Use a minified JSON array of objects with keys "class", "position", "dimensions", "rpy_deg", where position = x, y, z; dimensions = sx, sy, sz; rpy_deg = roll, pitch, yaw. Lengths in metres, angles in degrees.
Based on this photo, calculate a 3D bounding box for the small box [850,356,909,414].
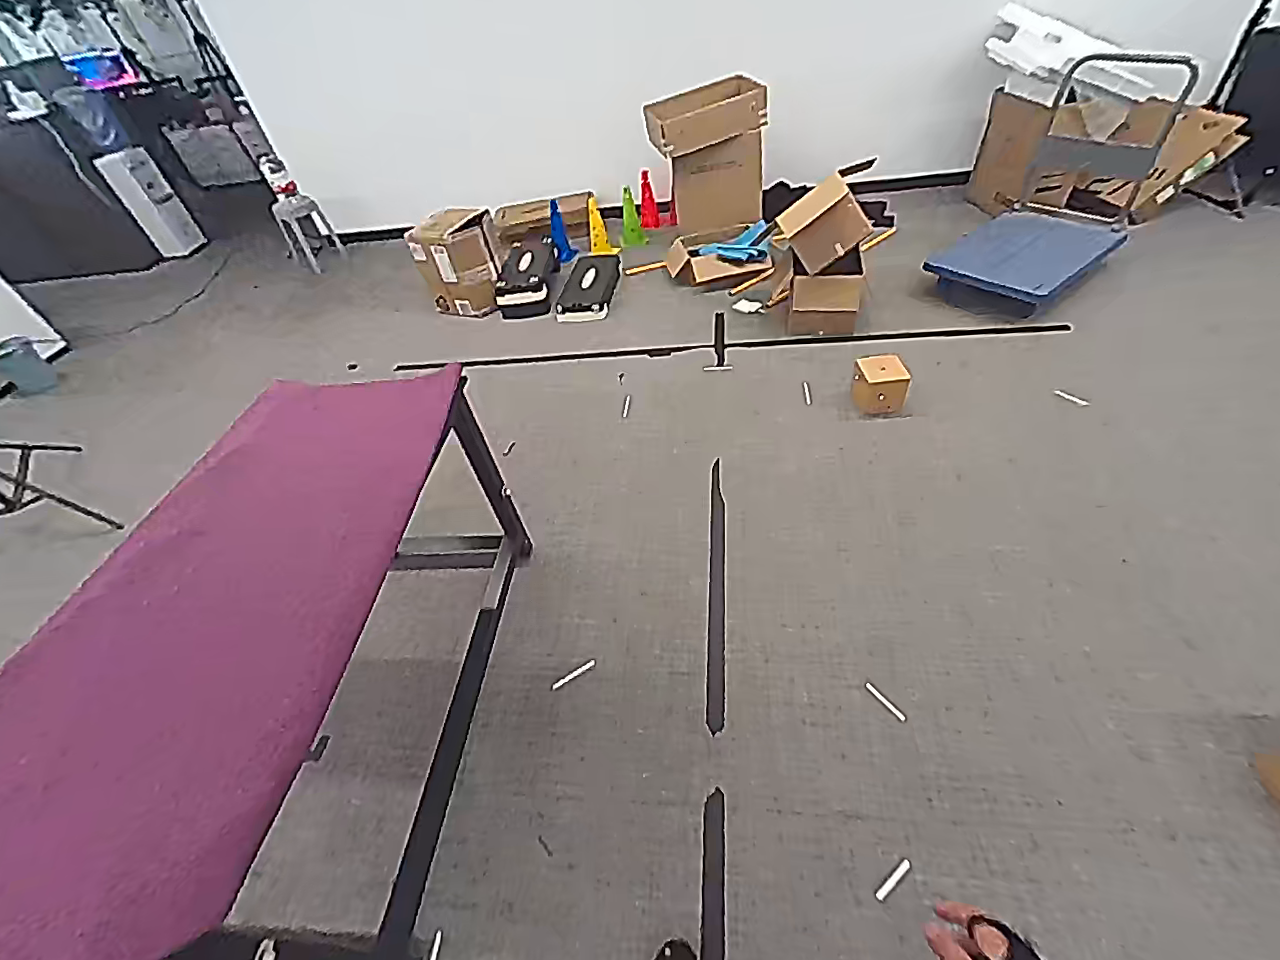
[{"class":"small box","position":[0.986,-0.385,2.235],"dimensions":[0.168,0.176,0.179],"rpy_deg":[-7,44,4]}]
